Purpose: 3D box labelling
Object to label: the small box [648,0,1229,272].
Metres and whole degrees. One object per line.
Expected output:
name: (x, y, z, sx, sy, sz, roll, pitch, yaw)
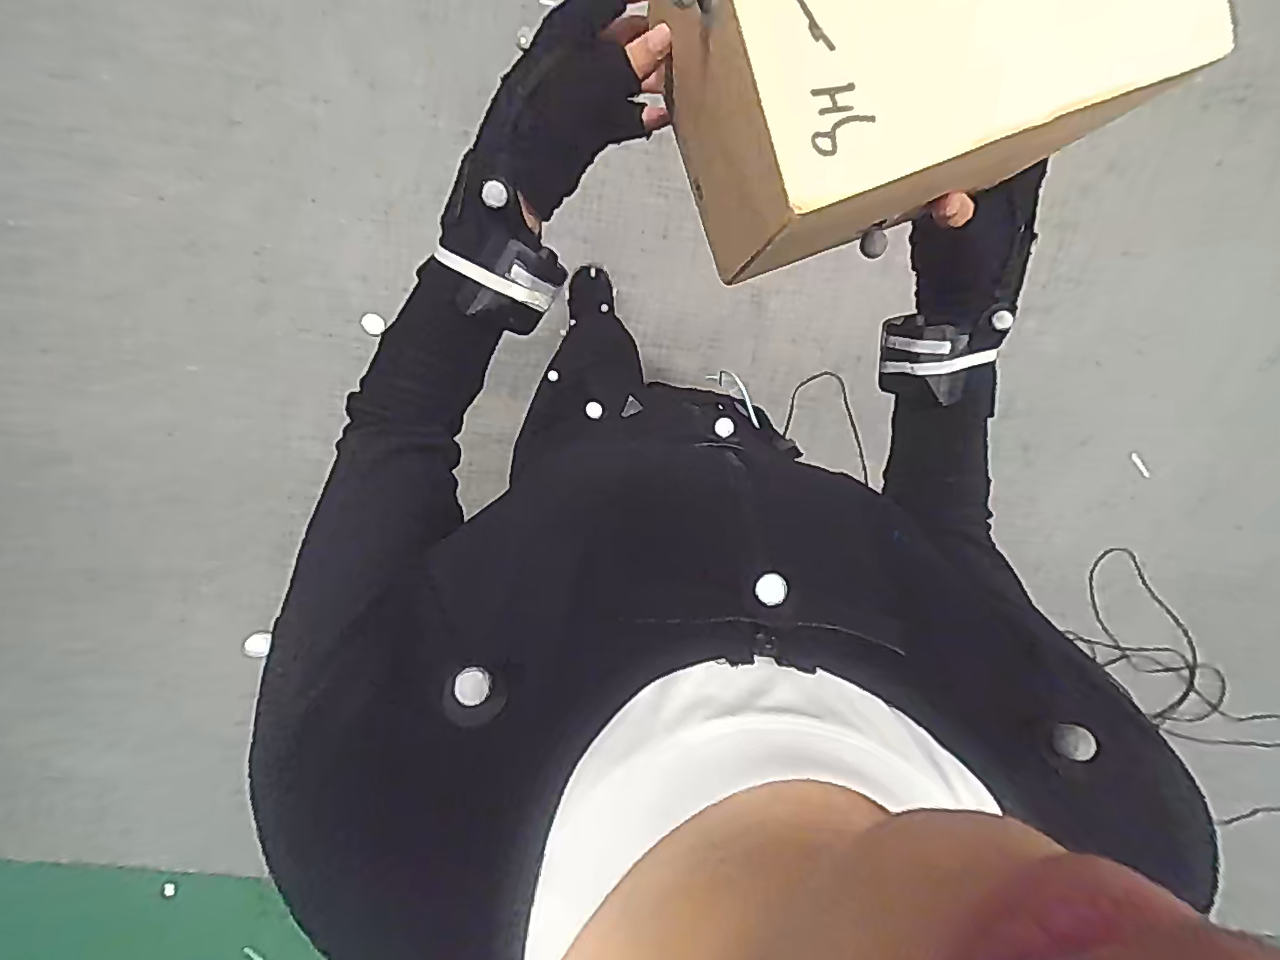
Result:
small box: (0.111, -0.224, 0.269, 0.179, 0.176, 0.168, -19, 100, 2)
